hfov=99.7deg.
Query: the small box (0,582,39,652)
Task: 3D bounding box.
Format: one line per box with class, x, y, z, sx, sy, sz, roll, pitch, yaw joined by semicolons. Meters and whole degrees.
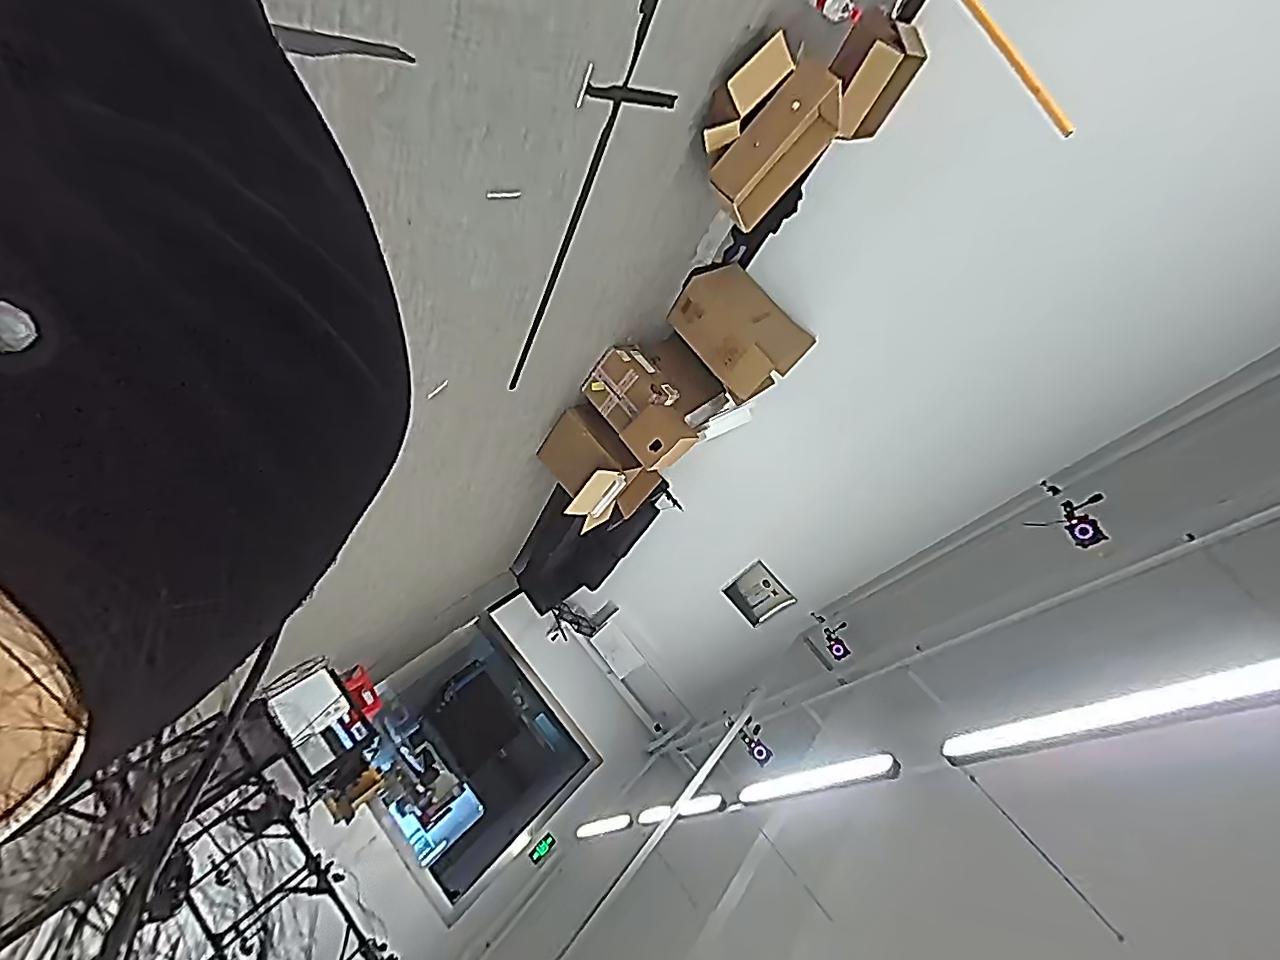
small box;-2.080;0.446;1.710;0.168;0.176;0.179;-33;167;-41
